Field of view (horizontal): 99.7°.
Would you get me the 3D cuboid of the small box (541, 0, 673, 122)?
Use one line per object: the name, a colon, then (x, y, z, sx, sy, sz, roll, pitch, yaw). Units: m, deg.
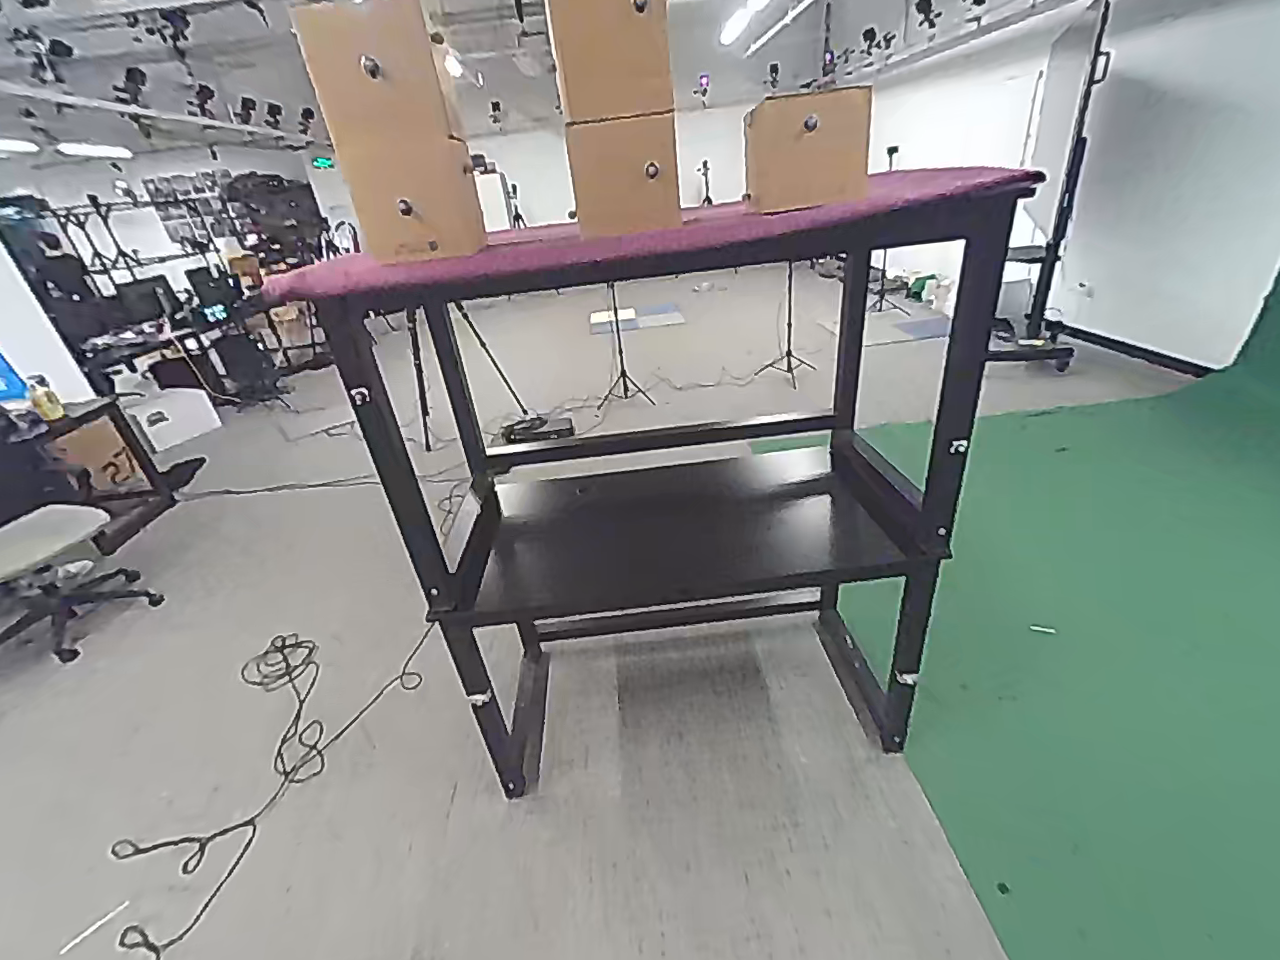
small box: (-0.052, -0.666, 0.855, 0.179, 0.176, 0.168, -9, 29, -3)

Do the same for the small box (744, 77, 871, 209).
small box: (0.287, -0.580, 0.953, 0.179, 0.176, 0.168, -6, 27, 1)

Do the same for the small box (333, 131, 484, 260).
small box: (-0.368, -0.469, 0.901, 0.168, 0.176, 0.179, -7, 30, -2)

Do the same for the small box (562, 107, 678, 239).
small box: (-0.031, -0.524, 0.932, 0.179, 0.176, 0.168, -9, 29, -1)
